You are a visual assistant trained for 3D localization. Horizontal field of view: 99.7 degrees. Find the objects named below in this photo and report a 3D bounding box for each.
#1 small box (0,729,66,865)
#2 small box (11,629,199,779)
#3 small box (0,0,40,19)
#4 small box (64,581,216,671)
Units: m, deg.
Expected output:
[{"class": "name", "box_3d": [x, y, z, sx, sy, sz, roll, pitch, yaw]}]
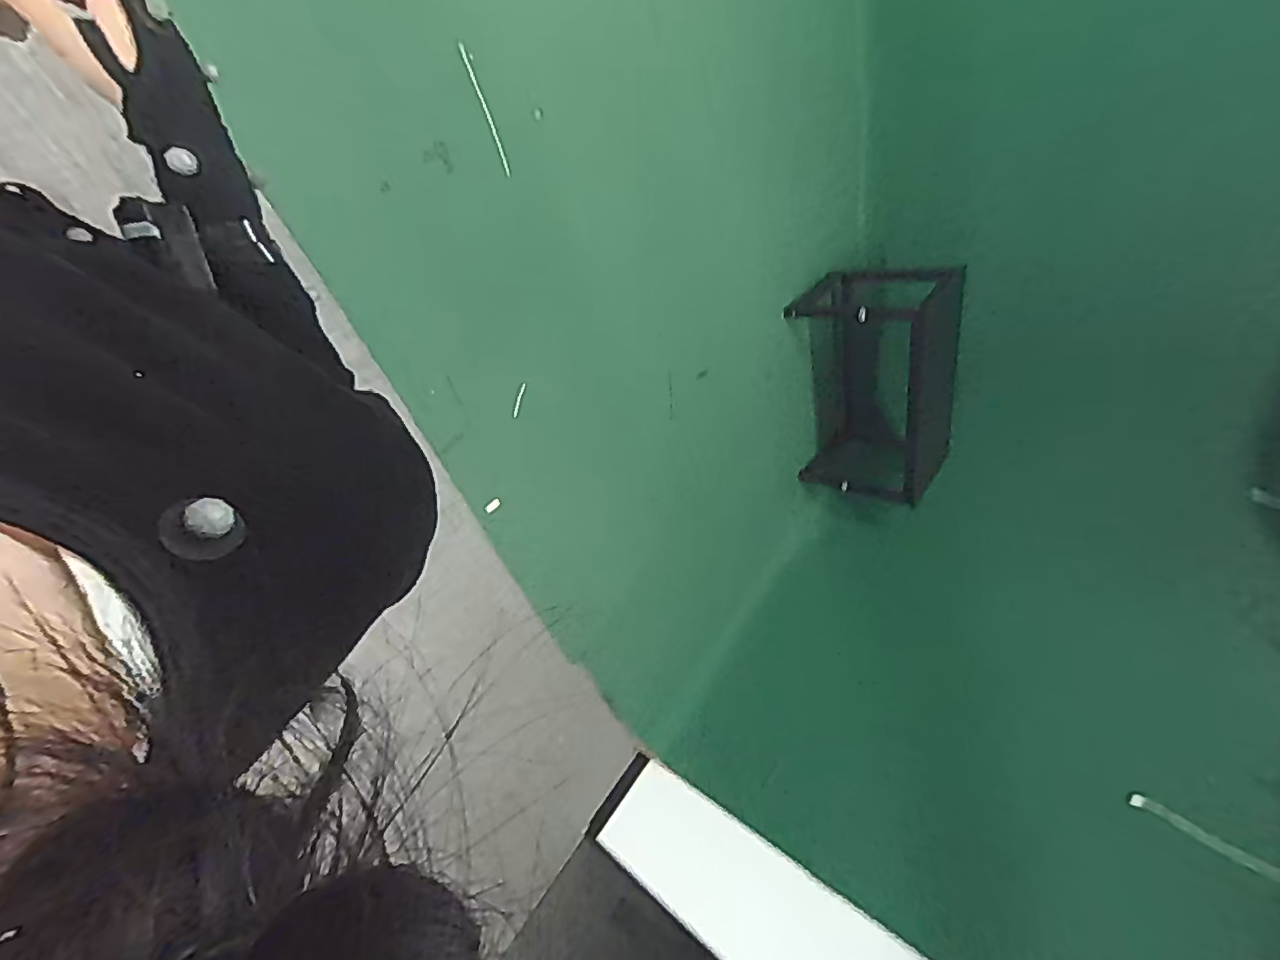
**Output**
[{"class": "small box", "box_3d": [-1.110, 0.529, 0.883, 0.168, 0.176, 0.179, -49, 134, -27]}, {"class": "small box", "box_3d": [-0.970, 0.400, 0.992, 0.168, 0.176, 0.179, -48, 132, -22]}, {"class": "small box", "box_3d": [-0.466, -0.375, 0.282, 0.179, 0.176, 0.168, -15, 124, -41]}, {"class": "small box", "box_3d": [-1.048, 0.342, 1.133, 0.179, 0.176, 0.168, -46, 132, -23]}]
